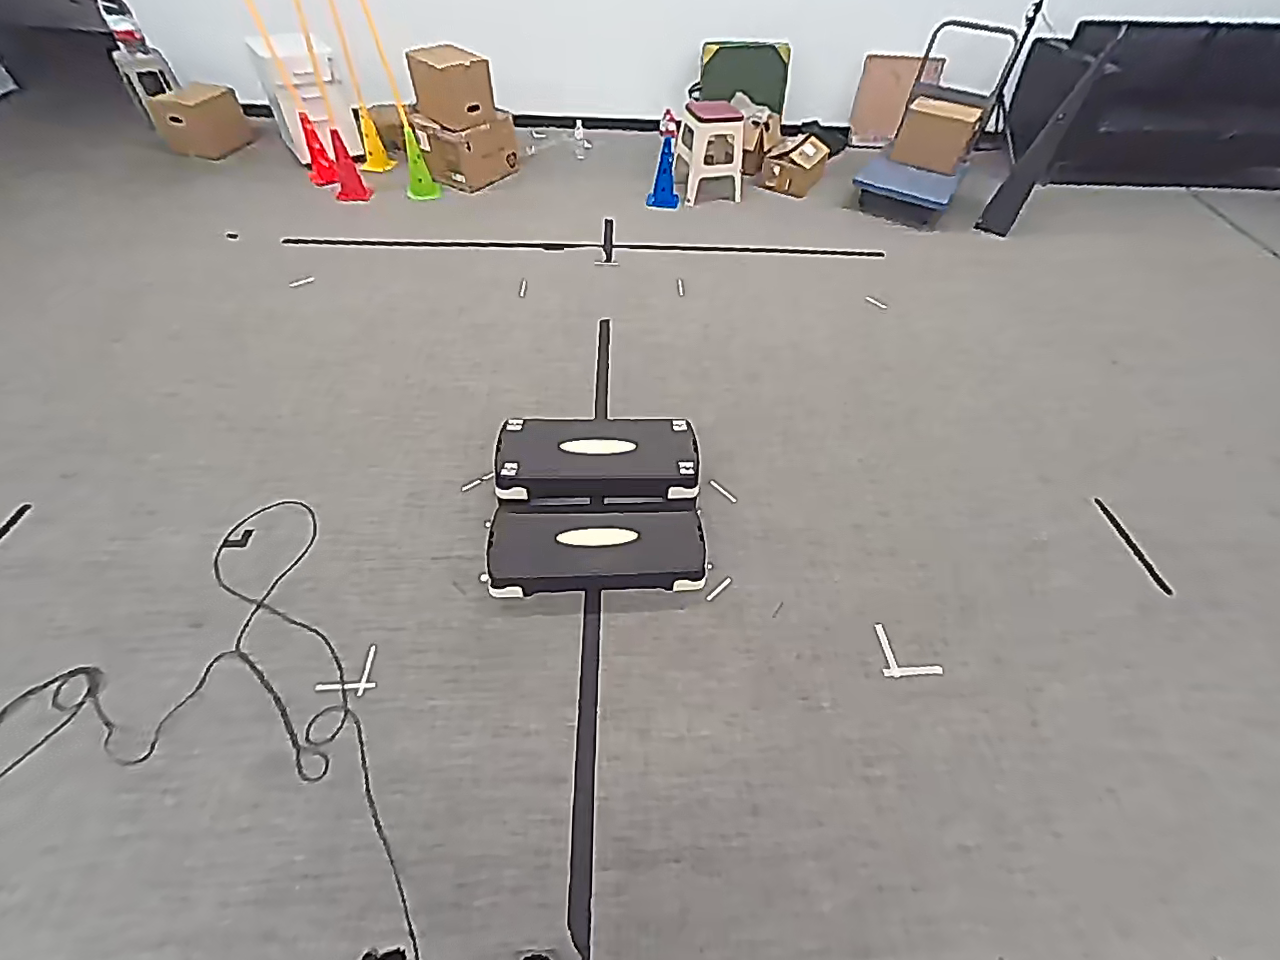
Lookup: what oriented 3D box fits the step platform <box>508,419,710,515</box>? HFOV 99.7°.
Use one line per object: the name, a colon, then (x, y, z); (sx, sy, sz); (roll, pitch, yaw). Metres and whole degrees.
step platform: (-0.105, -0.051, 1.861); (0.684, 0.204, 0.286); (0, 50, -5)
